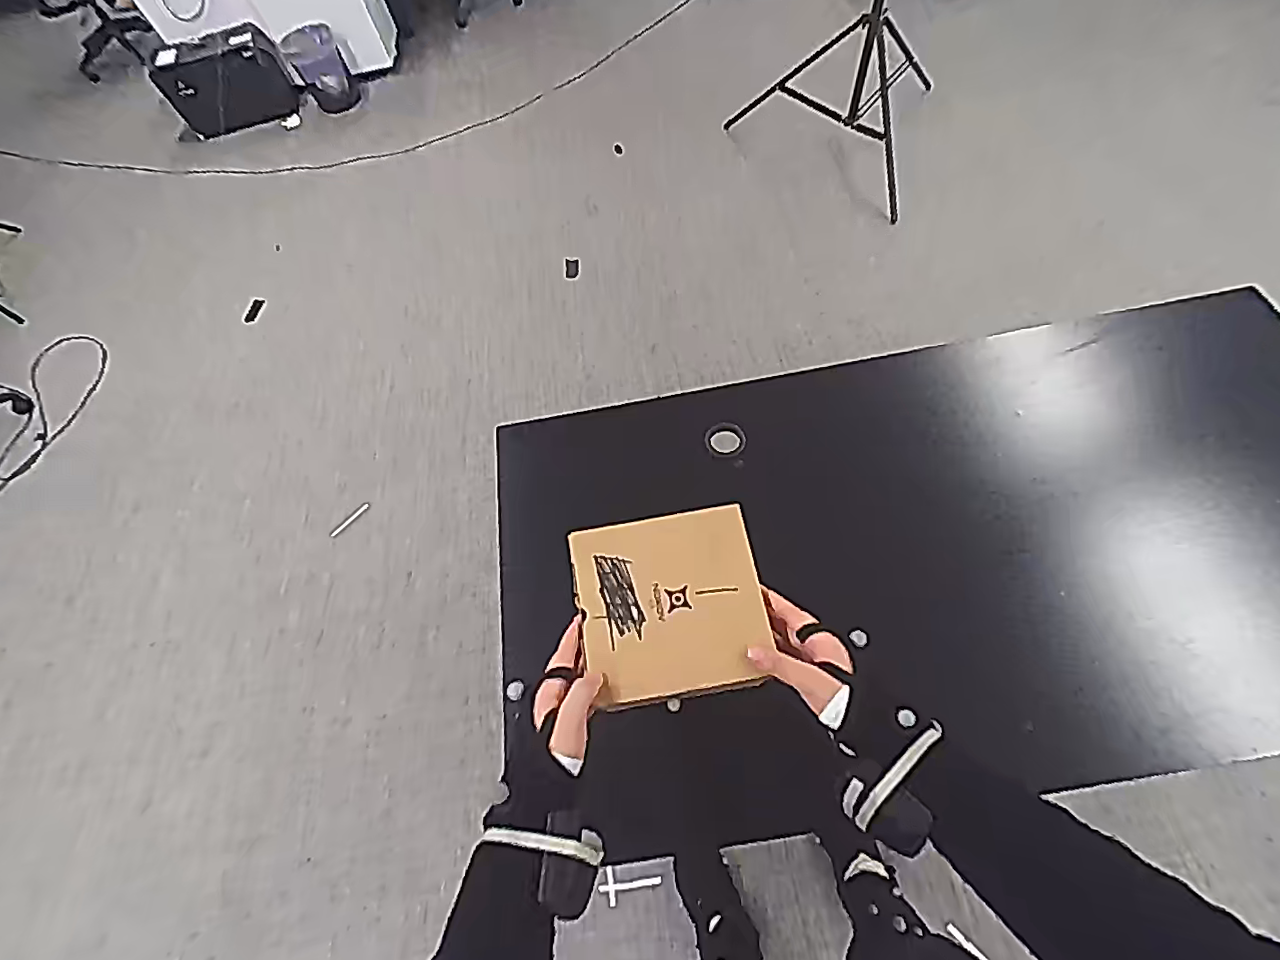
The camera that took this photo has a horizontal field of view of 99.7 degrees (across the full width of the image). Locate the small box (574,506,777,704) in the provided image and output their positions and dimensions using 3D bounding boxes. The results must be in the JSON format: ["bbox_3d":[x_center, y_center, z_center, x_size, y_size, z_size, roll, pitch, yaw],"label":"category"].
[{"bbox_3d":[0.034,0.145,0.592,0.179,0.176,0.168,-10,66,0],"label":"small box"}]
